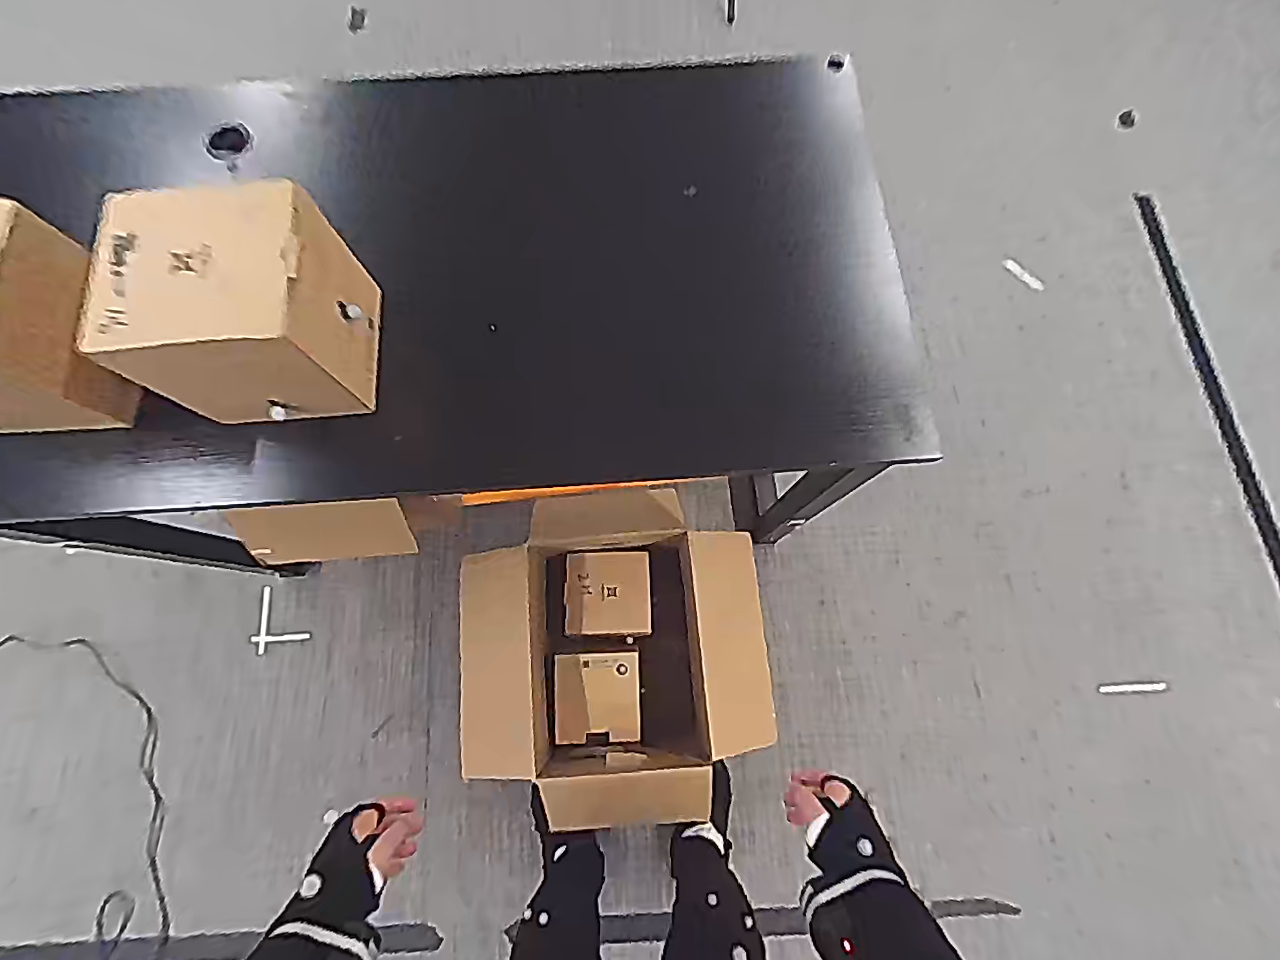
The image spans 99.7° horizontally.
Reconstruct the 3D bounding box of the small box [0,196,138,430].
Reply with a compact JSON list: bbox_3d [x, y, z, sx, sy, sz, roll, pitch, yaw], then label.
[{"bbox_3d":[-0.656,-0.154,0.542,0.179,0.176,0.168,-2,75,-2],"label":"small box"}]

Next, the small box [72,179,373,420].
[{"bbox_3d":[-0.393,-0.170,0.549,0.179,0.176,0.168,-5,74,-2],"label":"small box"}]
